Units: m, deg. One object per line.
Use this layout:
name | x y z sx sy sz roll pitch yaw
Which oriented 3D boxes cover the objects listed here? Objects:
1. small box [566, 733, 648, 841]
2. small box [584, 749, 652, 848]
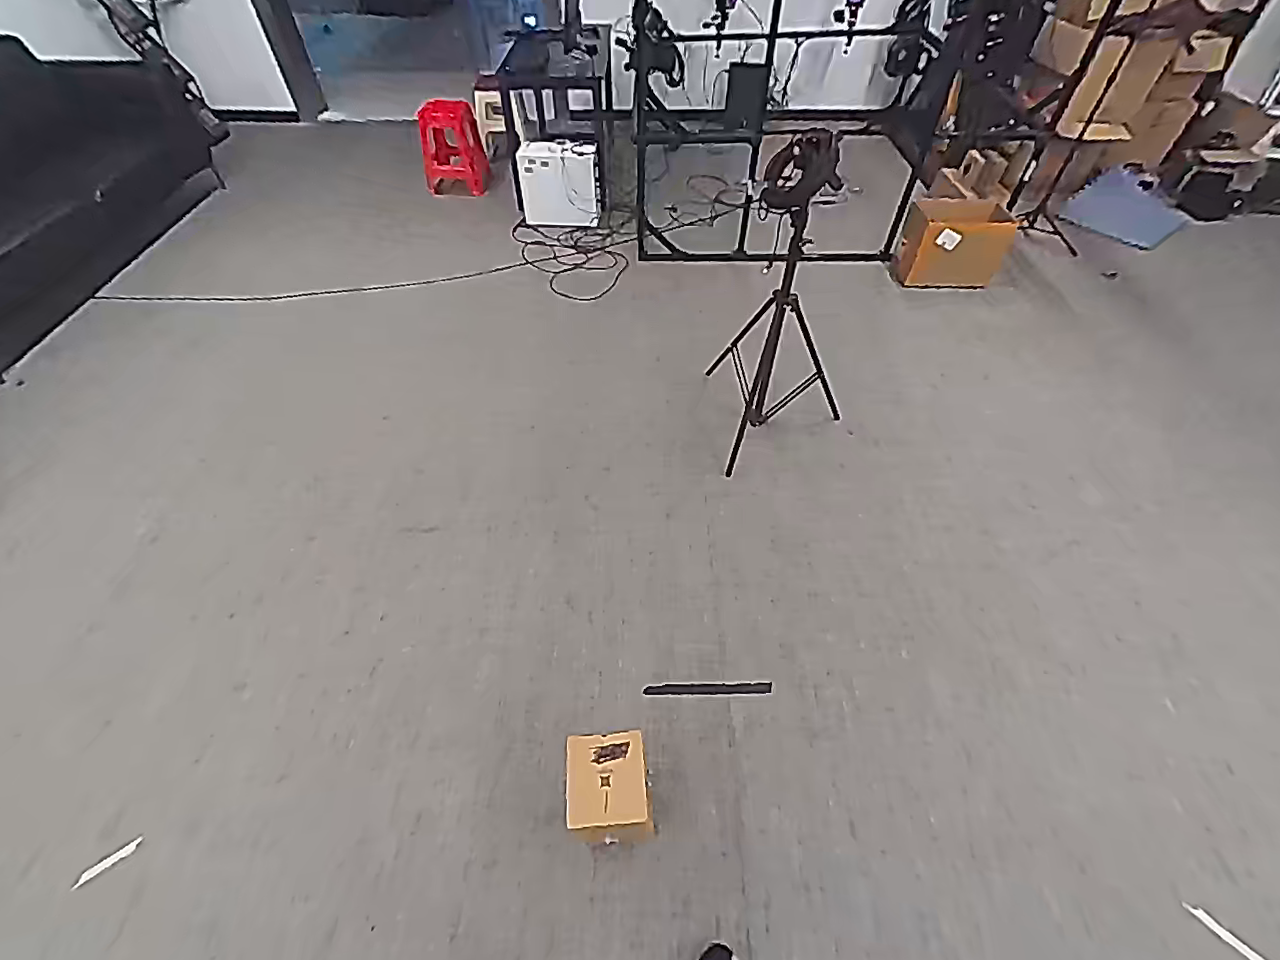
small box | -0.071 0.677 1.192 0.168 0.176 0.179 -4 51 -2
small box | -0.062 0.778 1.320 0.168 0.176 0.179 -5 50 -3
